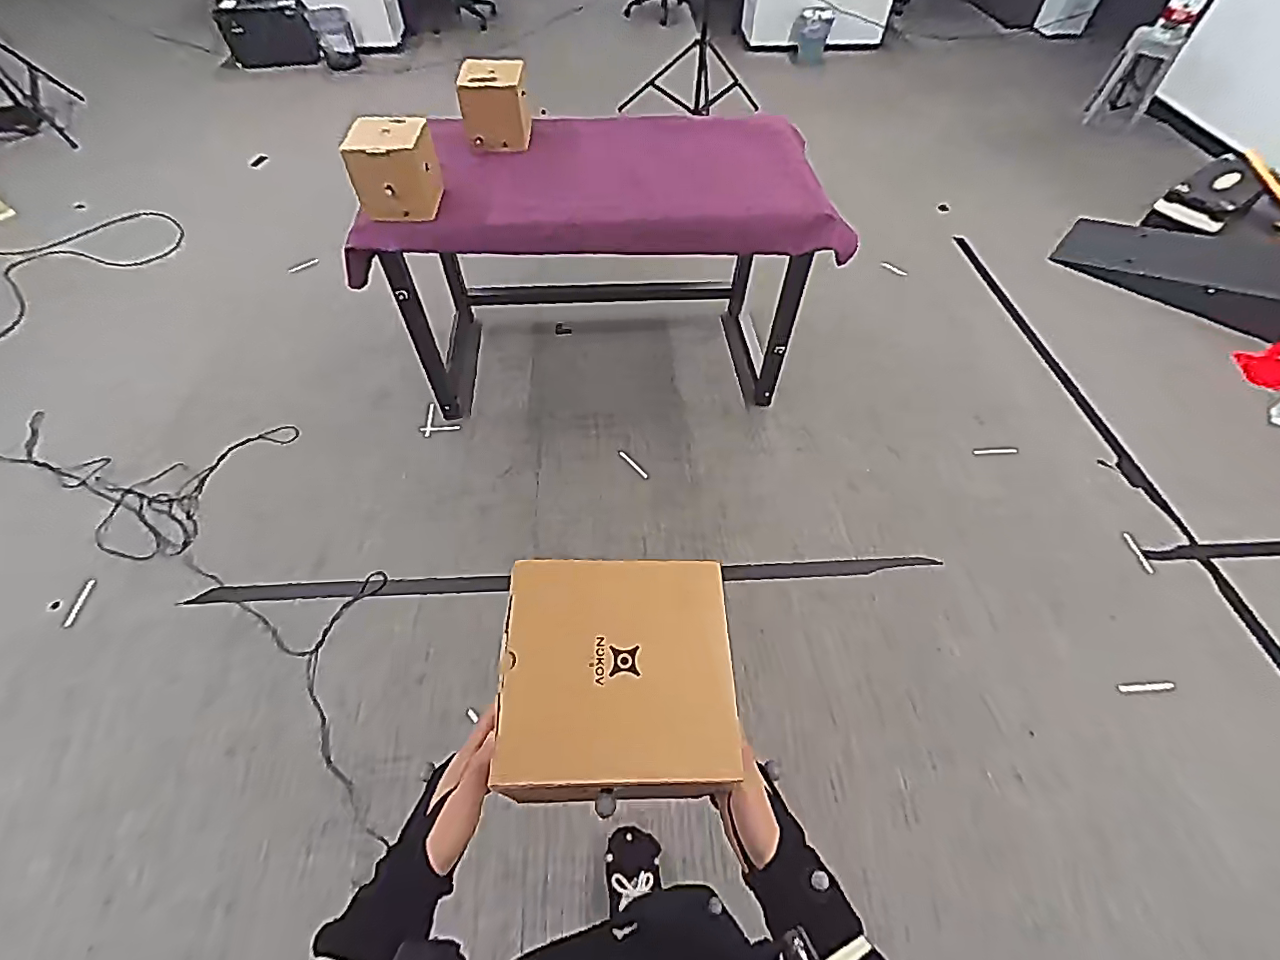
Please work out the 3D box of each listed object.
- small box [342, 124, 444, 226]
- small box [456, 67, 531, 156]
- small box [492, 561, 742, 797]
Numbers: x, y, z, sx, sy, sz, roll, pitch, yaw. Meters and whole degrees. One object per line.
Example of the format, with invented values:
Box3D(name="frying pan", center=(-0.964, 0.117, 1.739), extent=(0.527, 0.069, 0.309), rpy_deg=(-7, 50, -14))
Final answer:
Box3D(name="small box", center=(-0.596, -0.747, 1.329), extent=(0.168, 0.176, 0.179), rpy_deg=(-1, 55, -3))
Box3D(name="small box", center=(-0.412, -1.057, 1.554), extent=(0.168, 0.176, 0.179), rpy_deg=(-1, 55, -2))
Box3D(name="small box", center=(-0.021, 0.181, 0.481), extent=(0.179, 0.176, 0.168), rpy_deg=(0, 57, -3))
